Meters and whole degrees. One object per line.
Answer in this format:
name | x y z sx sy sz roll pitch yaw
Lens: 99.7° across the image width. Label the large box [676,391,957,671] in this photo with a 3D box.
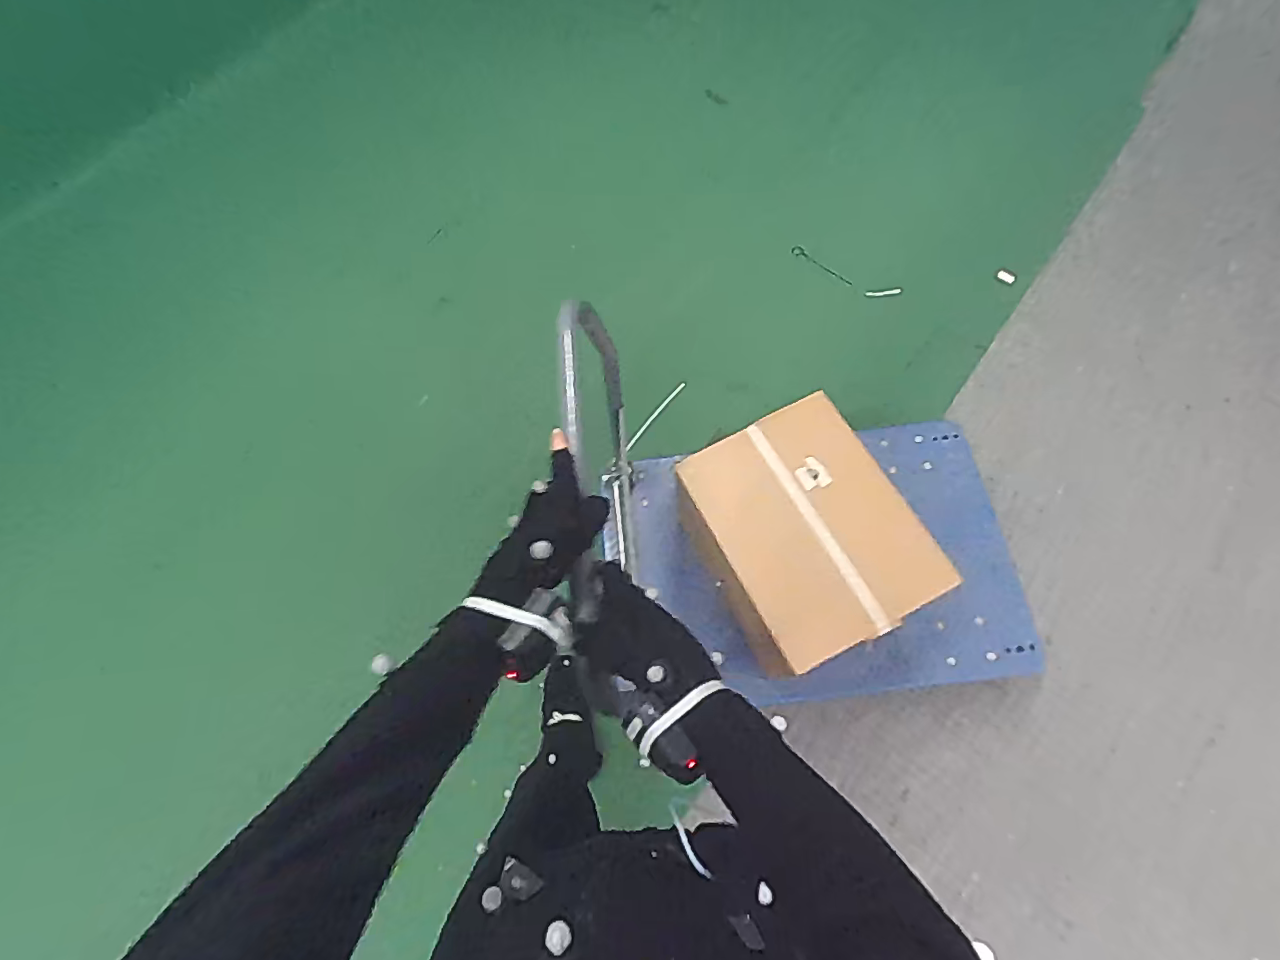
large box | 0.302 0.114 1.059 0.320 0.320 0.408 -26 68 -5
